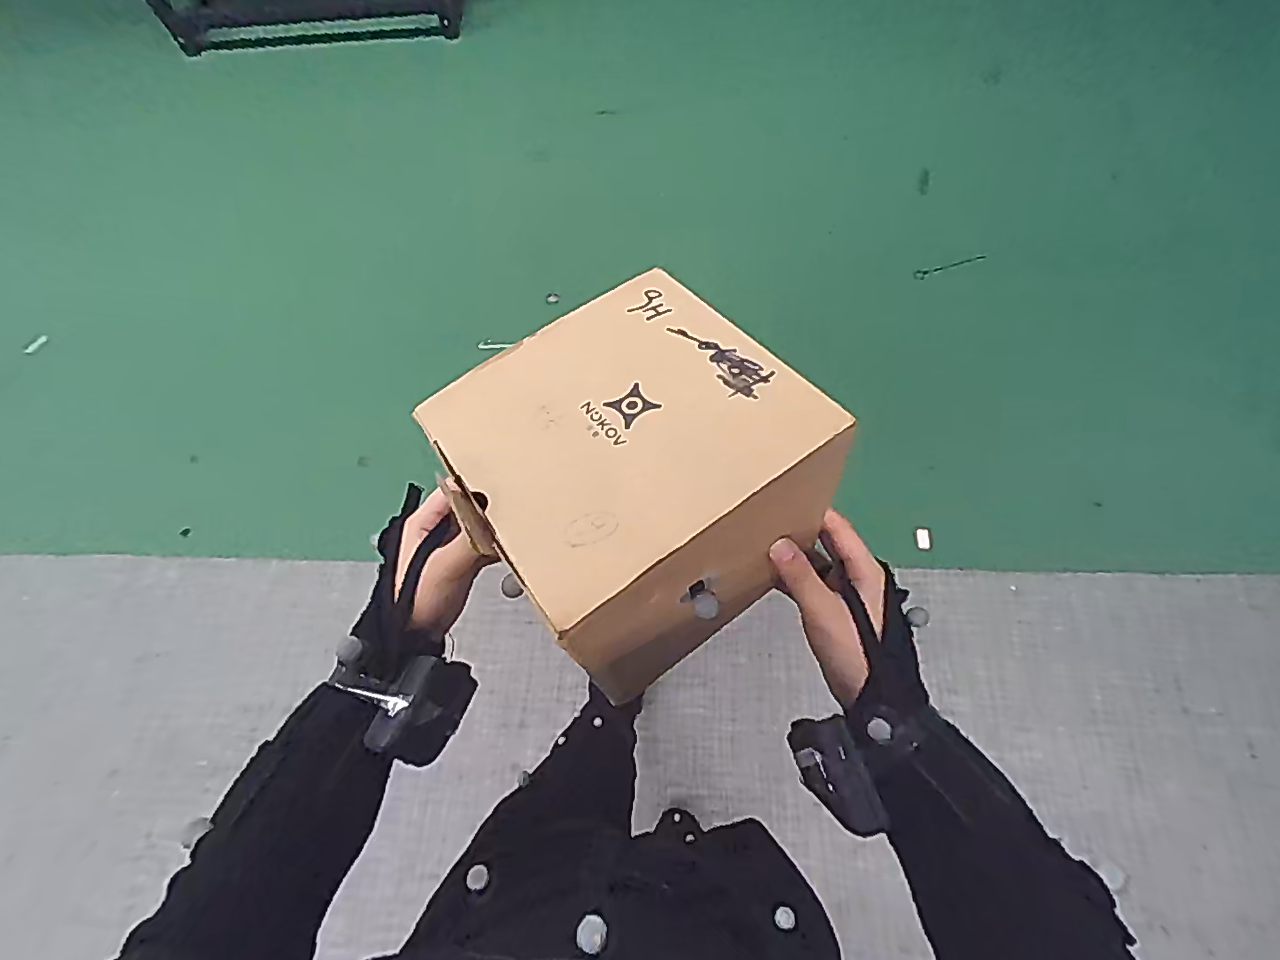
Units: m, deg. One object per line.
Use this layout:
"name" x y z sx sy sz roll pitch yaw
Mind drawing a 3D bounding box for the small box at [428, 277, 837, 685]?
"small box" 0.000 0.009 0.362 0.179 0.176 0.168 -35 60 -12
